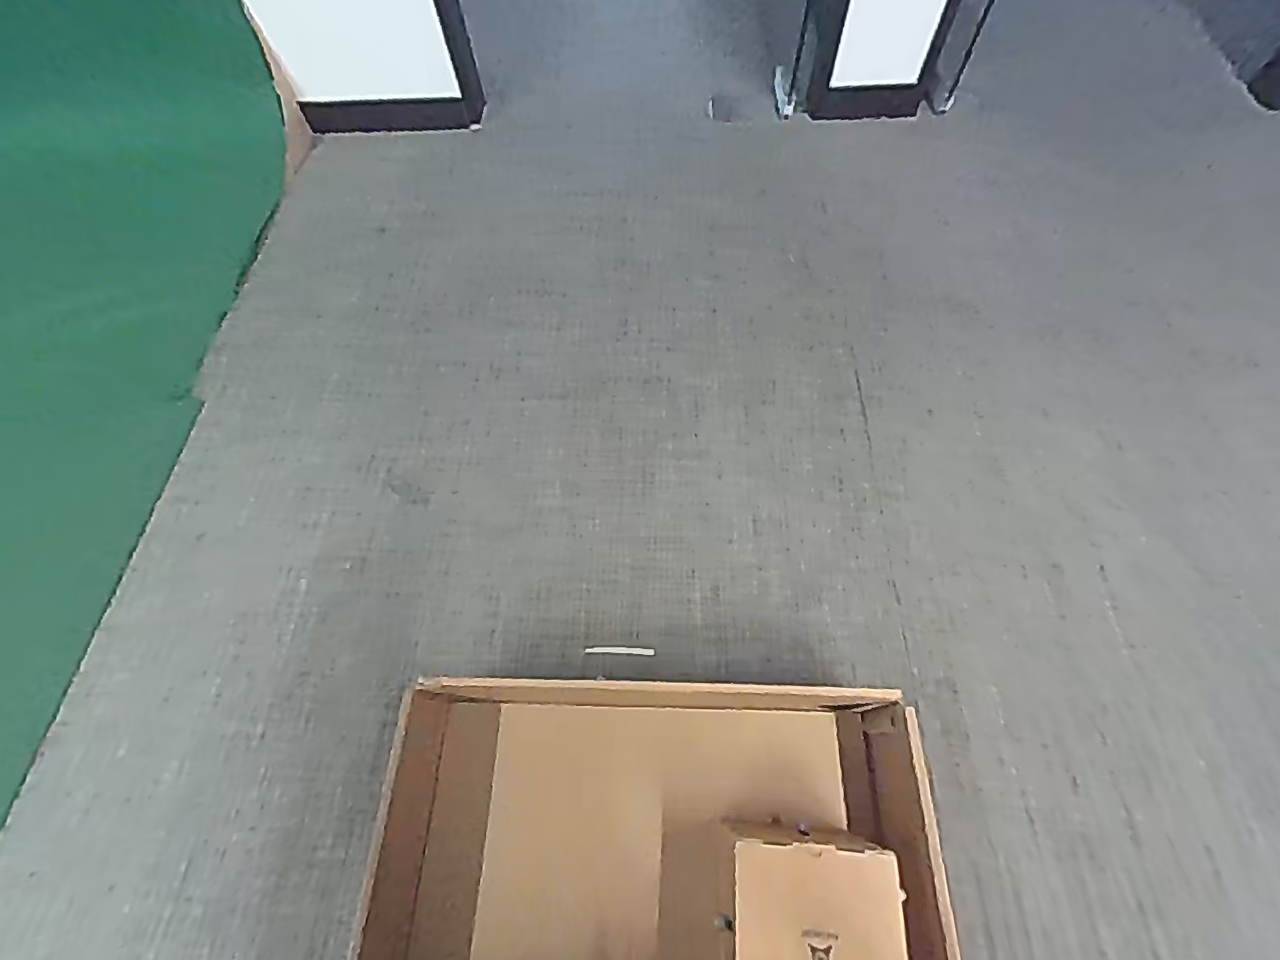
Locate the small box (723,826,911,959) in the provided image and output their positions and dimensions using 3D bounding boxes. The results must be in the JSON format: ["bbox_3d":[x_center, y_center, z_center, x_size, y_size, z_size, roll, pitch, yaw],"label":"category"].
[{"bbox_3d":[0.181,0.496,0.590,0.168,0.176,0.179,2,62,4],"label":"small box"}]
